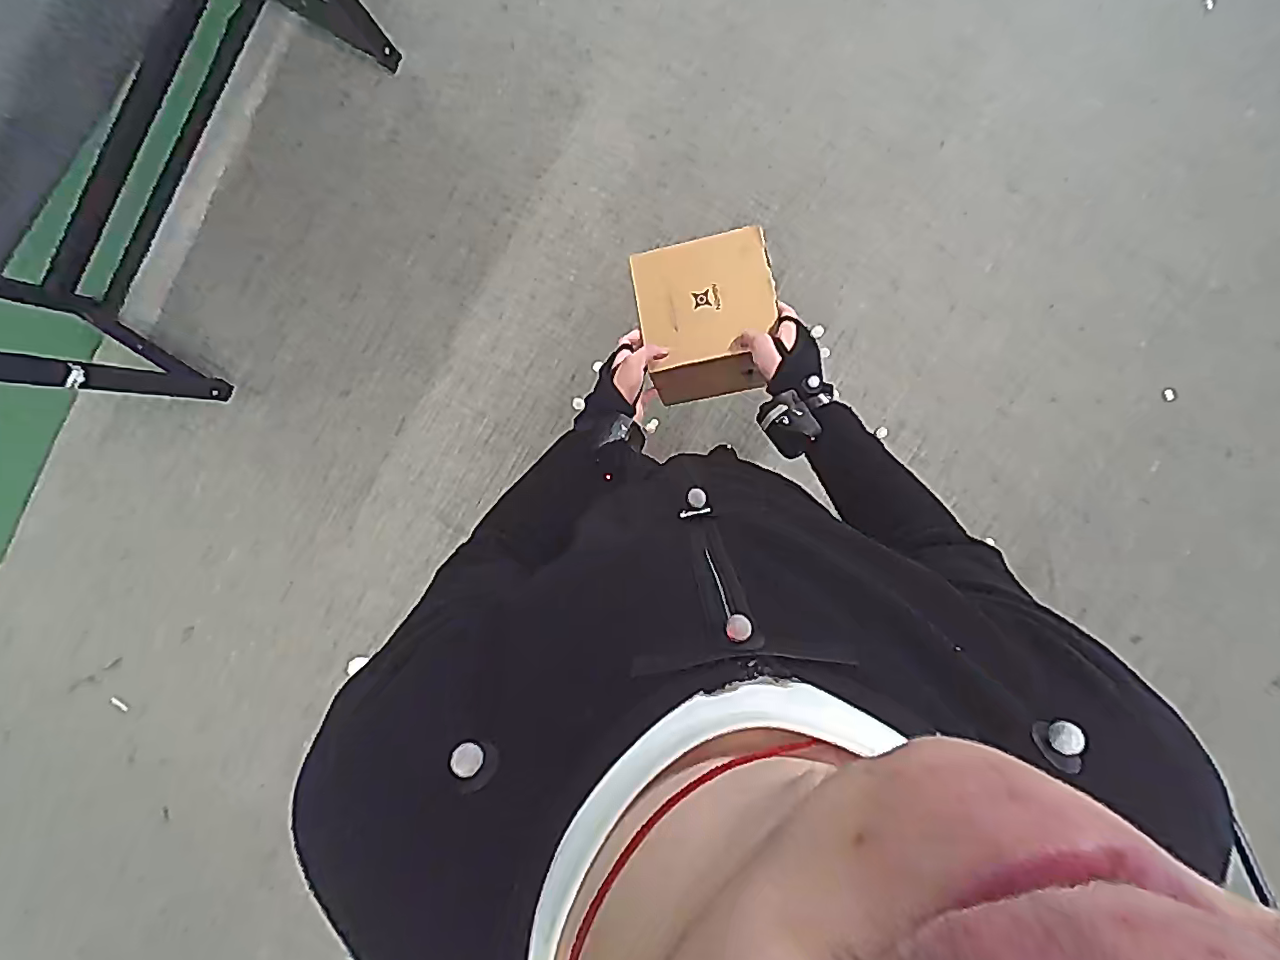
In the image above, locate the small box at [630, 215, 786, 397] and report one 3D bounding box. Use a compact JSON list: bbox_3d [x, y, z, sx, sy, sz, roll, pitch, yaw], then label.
[{"bbox_3d":[0.093,-0.228,0.749,0.179,0.176,0.168,-9,80,8],"label":"small box"}]
